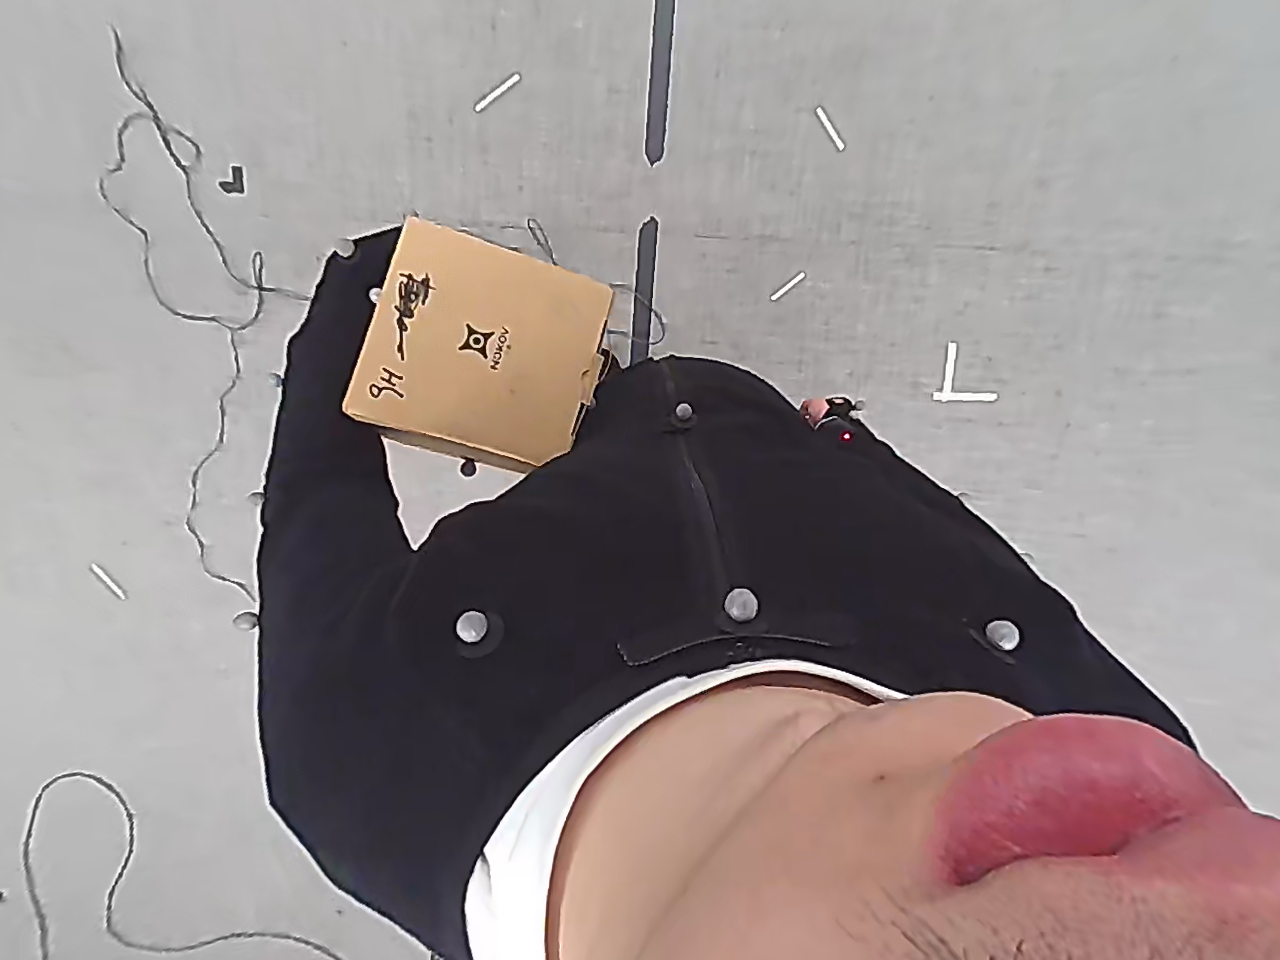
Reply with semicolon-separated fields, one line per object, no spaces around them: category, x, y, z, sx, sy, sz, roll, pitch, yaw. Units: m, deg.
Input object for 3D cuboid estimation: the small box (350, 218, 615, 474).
small box;-0.141;-0.106;0.518;0.179;0.176;0.168;16;83;-12
